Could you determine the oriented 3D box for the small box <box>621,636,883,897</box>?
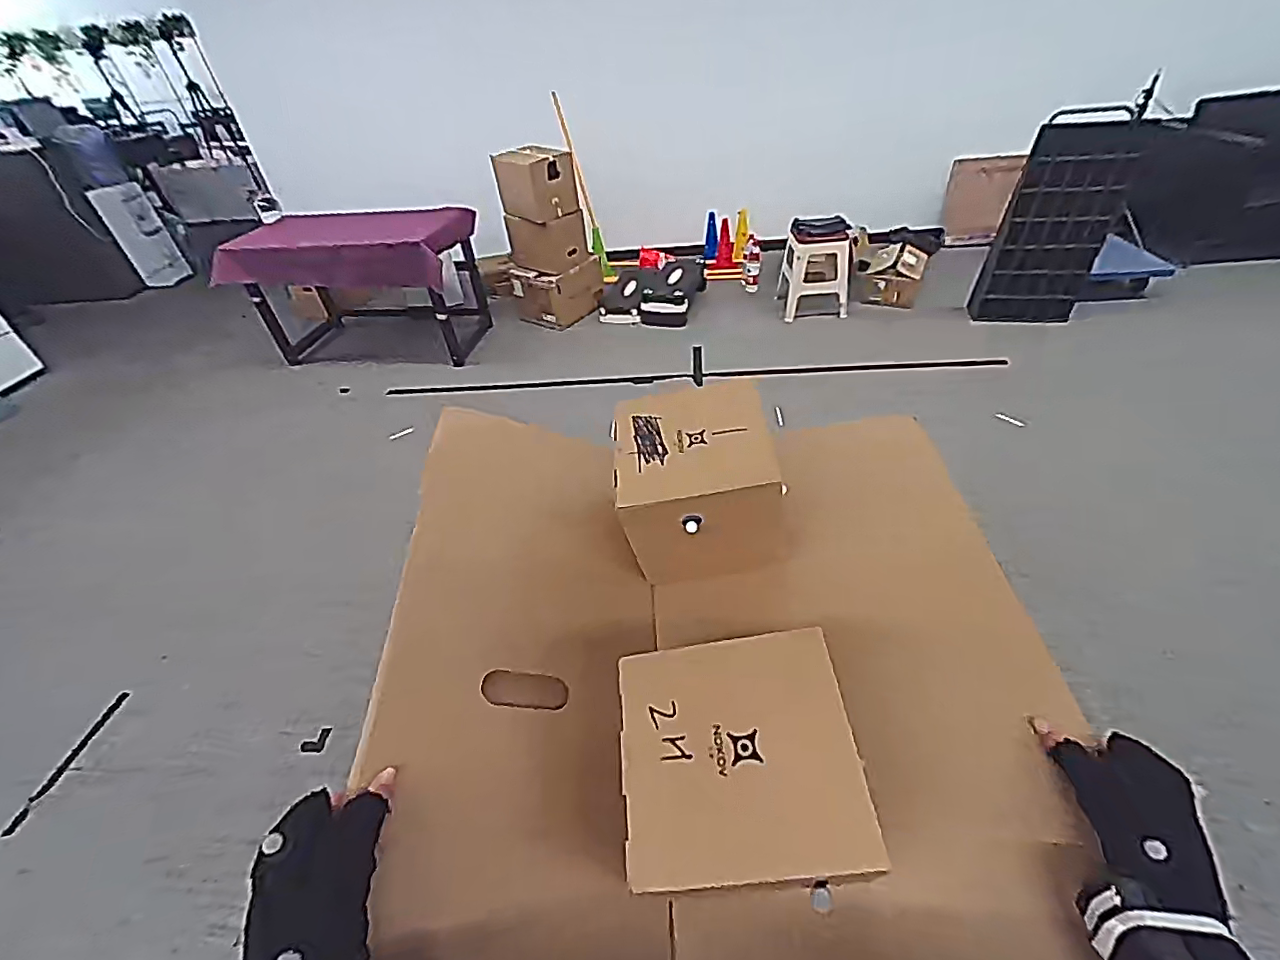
[{"bbox_3d":[0.090,0.257,0.475,0.179,0.176,0.168,-12,49,9],"label":"small box"}]

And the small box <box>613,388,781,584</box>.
[{"bbox_3d":[0.072,0.015,0.678,0.179,0.176,0.168,-10,49,8],"label":"small box"}]
